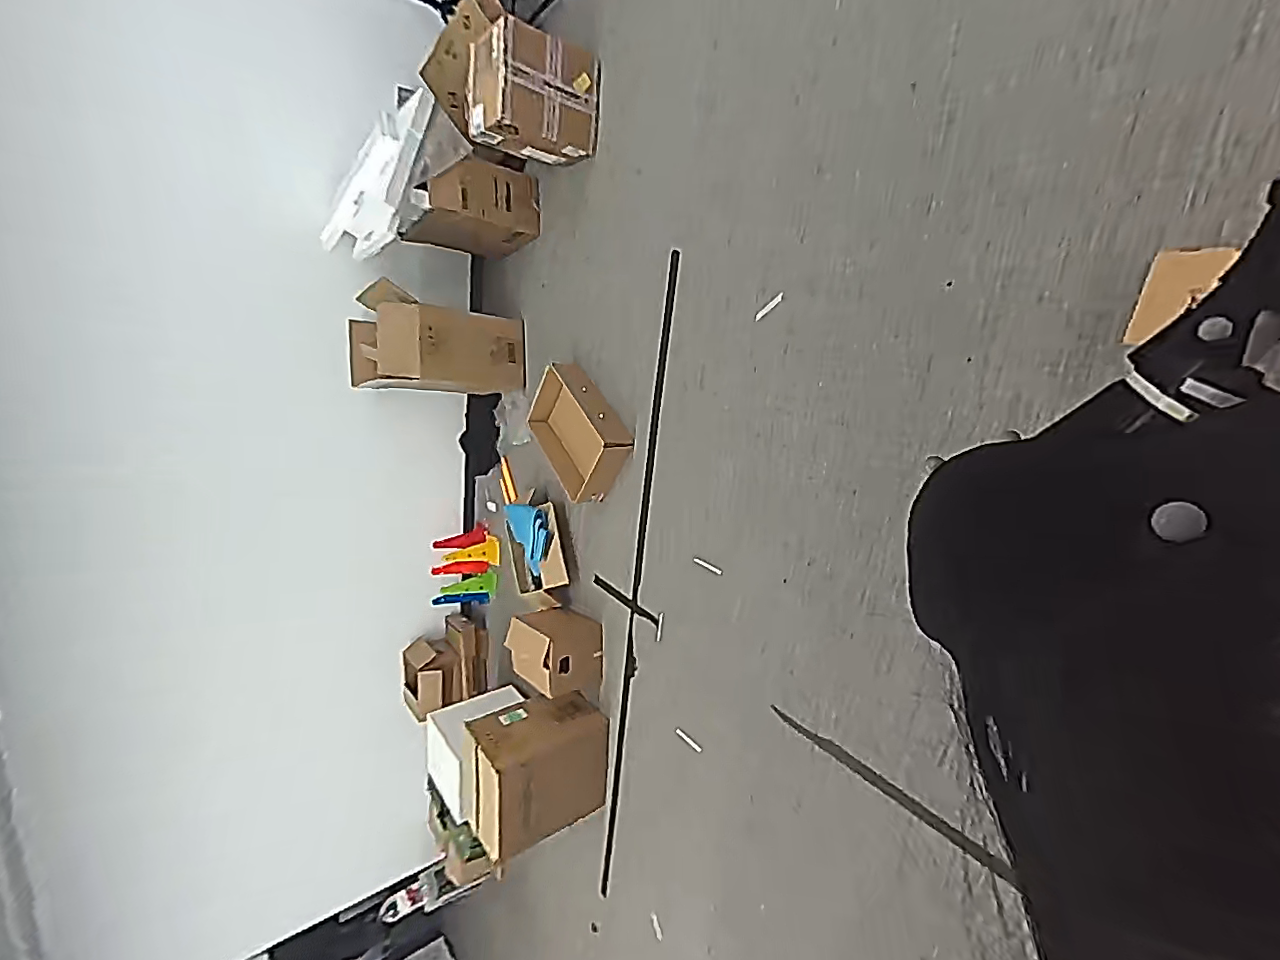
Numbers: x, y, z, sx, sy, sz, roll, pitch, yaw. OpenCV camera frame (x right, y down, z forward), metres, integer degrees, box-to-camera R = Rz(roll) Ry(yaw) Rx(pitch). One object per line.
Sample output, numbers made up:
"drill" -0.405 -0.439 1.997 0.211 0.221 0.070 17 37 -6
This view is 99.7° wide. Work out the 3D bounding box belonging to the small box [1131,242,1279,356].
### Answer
"small box" 1.070 -0.333 1.008 0.168 0.176 0.179 27 116 48
